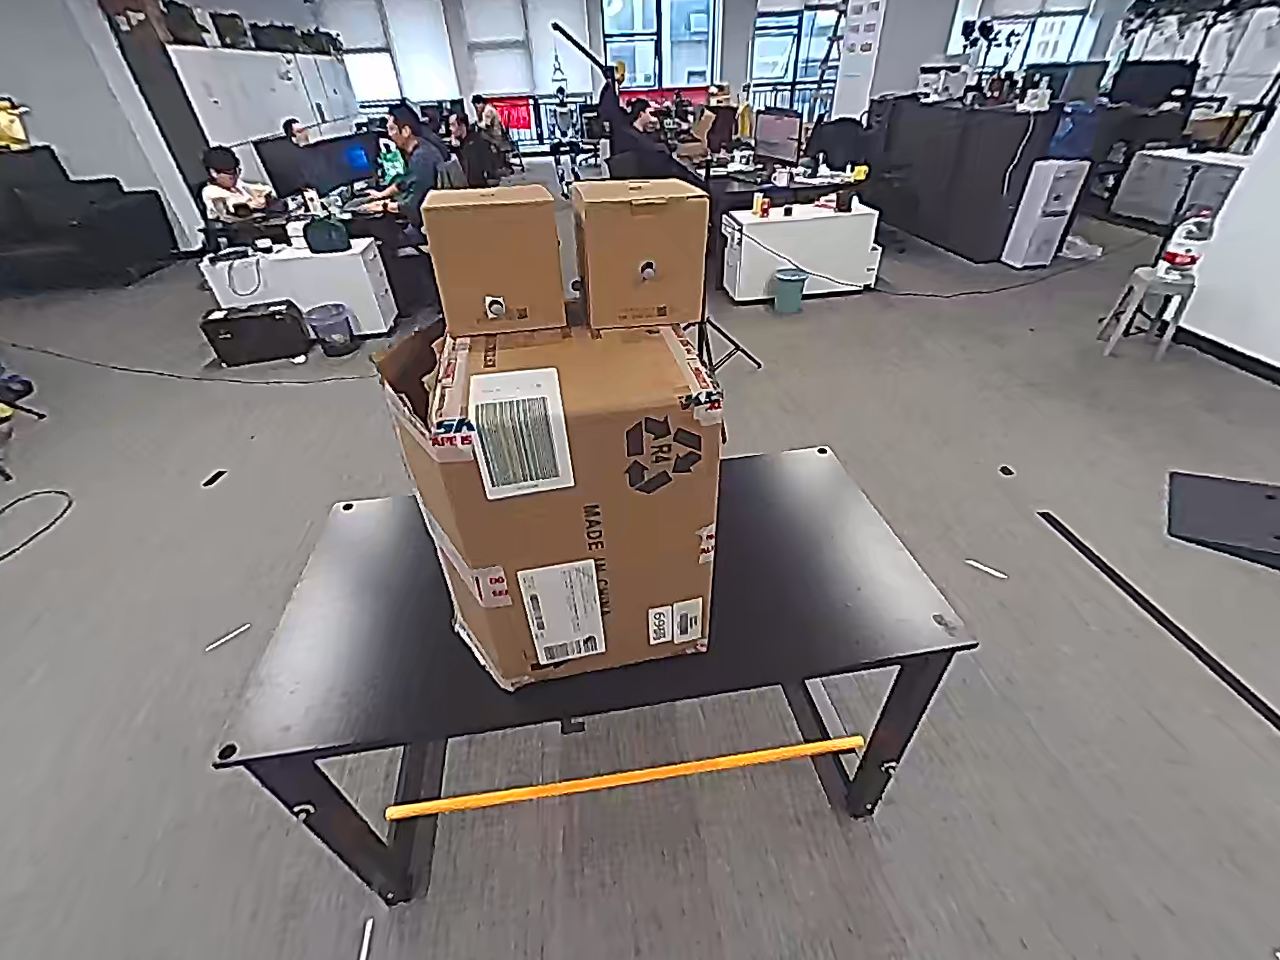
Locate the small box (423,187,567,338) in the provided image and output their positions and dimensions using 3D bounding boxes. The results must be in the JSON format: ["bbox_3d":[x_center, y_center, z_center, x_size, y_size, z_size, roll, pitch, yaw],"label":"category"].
[{"bbox_3d":[-0.206,-0.320,0.789,0.168,0.176,0.179,-10,37,-11],"label":"small box"}]
